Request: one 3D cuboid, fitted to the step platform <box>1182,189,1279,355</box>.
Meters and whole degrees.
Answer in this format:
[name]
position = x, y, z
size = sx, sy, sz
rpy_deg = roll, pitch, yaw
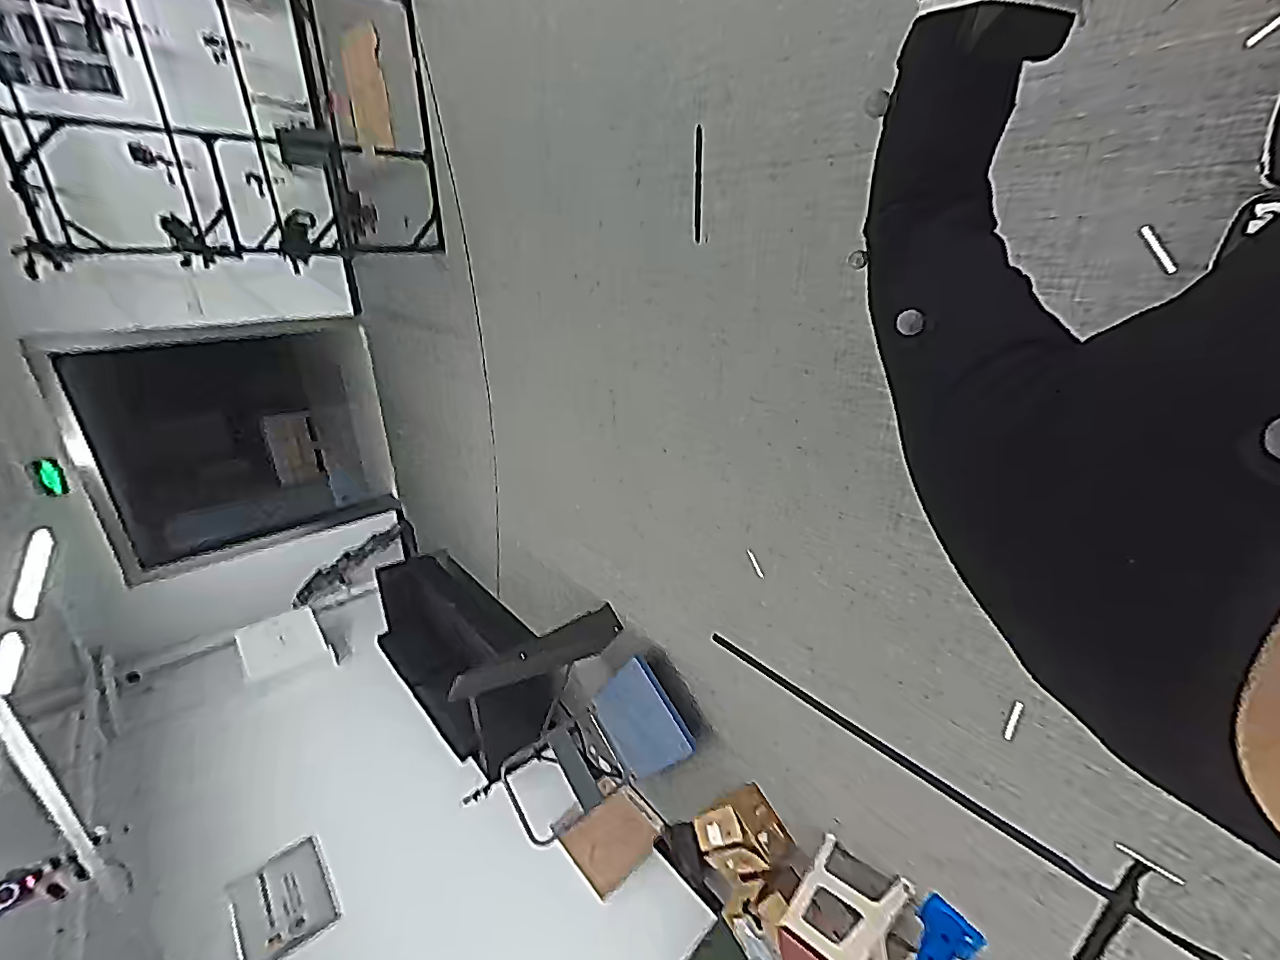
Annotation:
[step platform]
position = 1.338, -0.328, 0.847
size = 0.684, 0.204, 0.286
rpy_deg = 22, 122, 47
